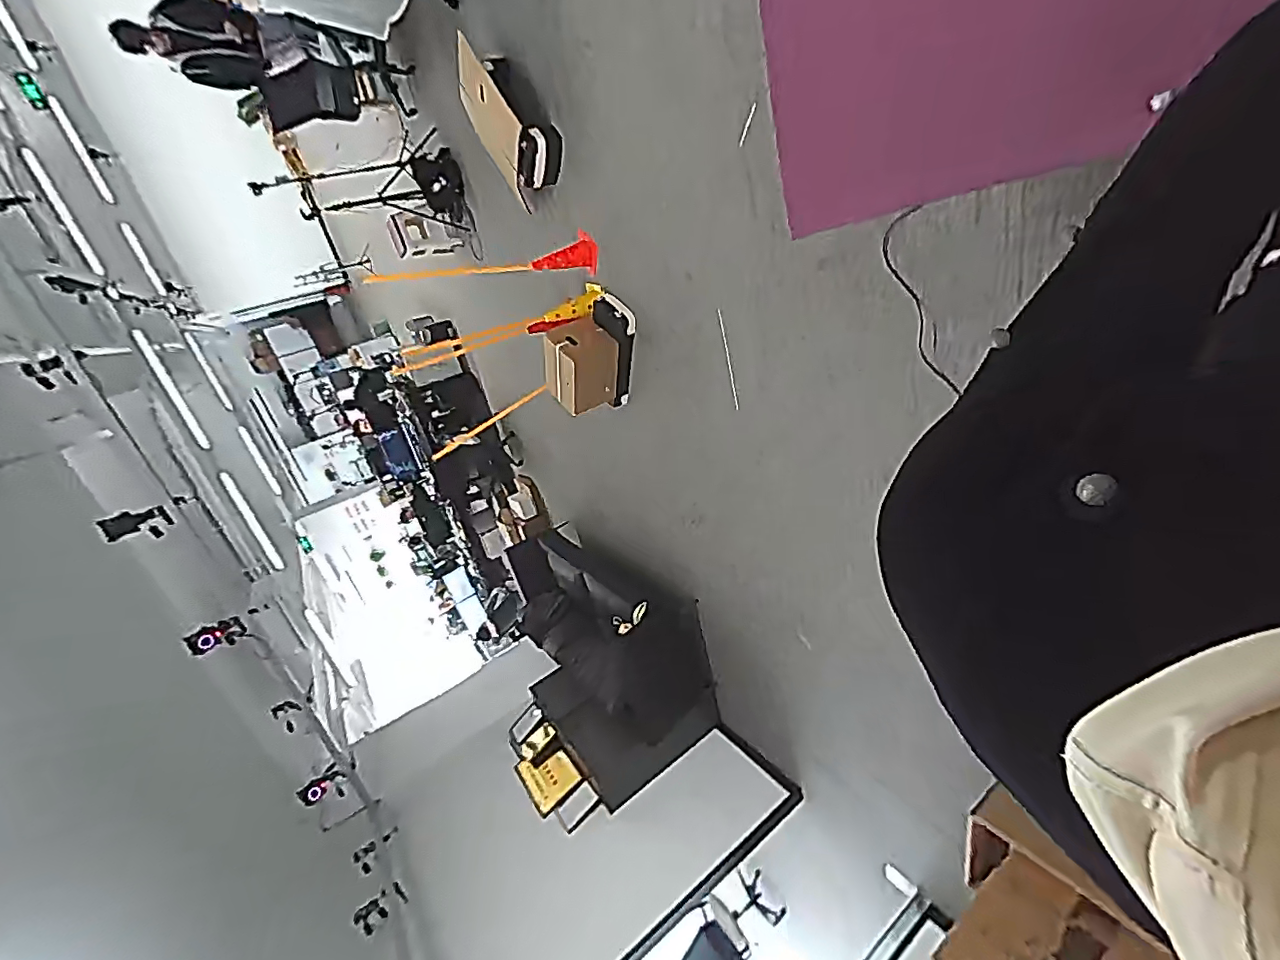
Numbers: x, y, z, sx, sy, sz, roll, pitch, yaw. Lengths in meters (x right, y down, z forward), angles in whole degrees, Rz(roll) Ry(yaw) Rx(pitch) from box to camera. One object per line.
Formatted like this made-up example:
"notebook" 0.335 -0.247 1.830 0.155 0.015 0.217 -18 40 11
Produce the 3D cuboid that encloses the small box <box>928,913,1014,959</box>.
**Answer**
"small box" 0.885 1.308 1.425 0.168 0.176 0.179 25 136 54

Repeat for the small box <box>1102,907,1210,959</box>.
"small box" 1.294 1.236 1.351 0.179 0.176 0.168 25 135 55
